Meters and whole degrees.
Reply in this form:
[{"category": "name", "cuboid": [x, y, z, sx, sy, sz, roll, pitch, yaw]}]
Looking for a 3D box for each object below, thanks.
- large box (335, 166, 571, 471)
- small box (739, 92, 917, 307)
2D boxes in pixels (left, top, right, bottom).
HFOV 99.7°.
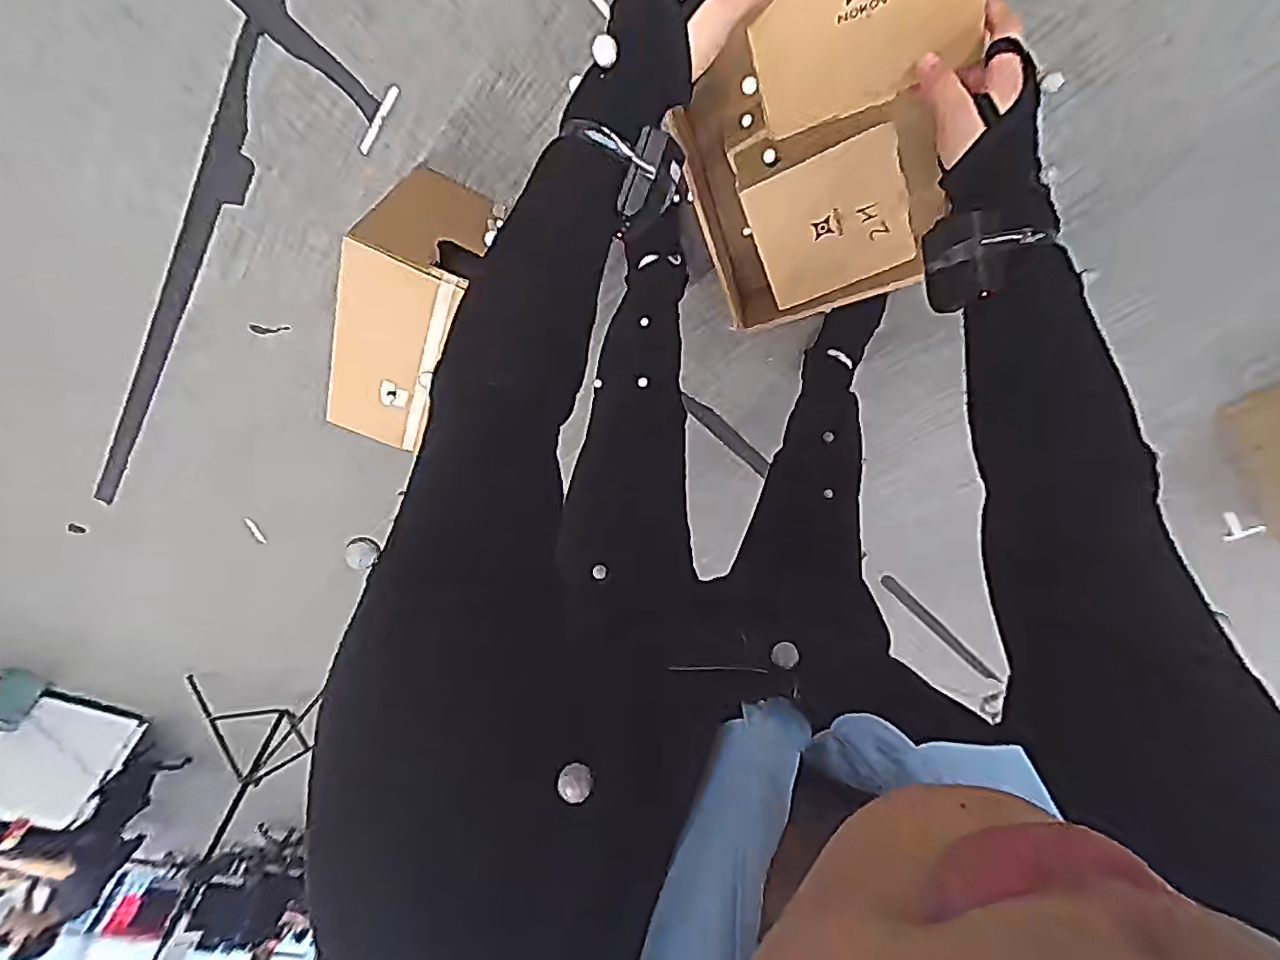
[{"category": "large box", "cuboid": [-0.356, -0.294, 1.043, 0.320, 0.320, 0.408, 21, 136, -16]}, {"category": "small box", "cuboid": [0.235, -0.362, 0.701, 0.179, 0.176, 0.168, -17, 131, 21]}]
